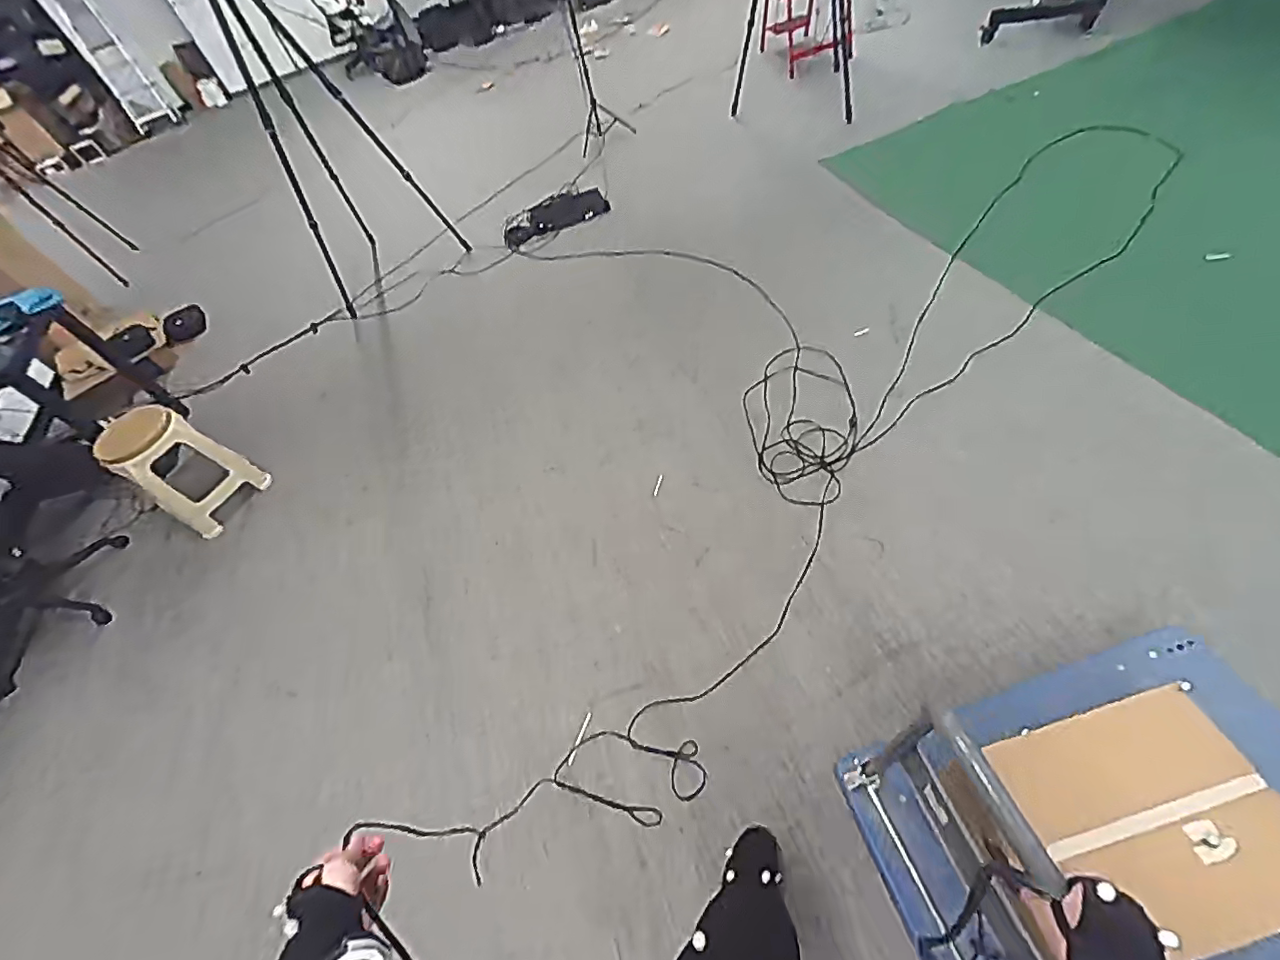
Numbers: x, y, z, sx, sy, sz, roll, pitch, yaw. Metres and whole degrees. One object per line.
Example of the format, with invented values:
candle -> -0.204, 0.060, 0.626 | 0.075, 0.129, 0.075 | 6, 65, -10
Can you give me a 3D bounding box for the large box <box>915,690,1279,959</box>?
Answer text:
large box -> 0.786, 0.631, 0.961 | 0.408, 0.320, 0.320 | -18, 52, -1
